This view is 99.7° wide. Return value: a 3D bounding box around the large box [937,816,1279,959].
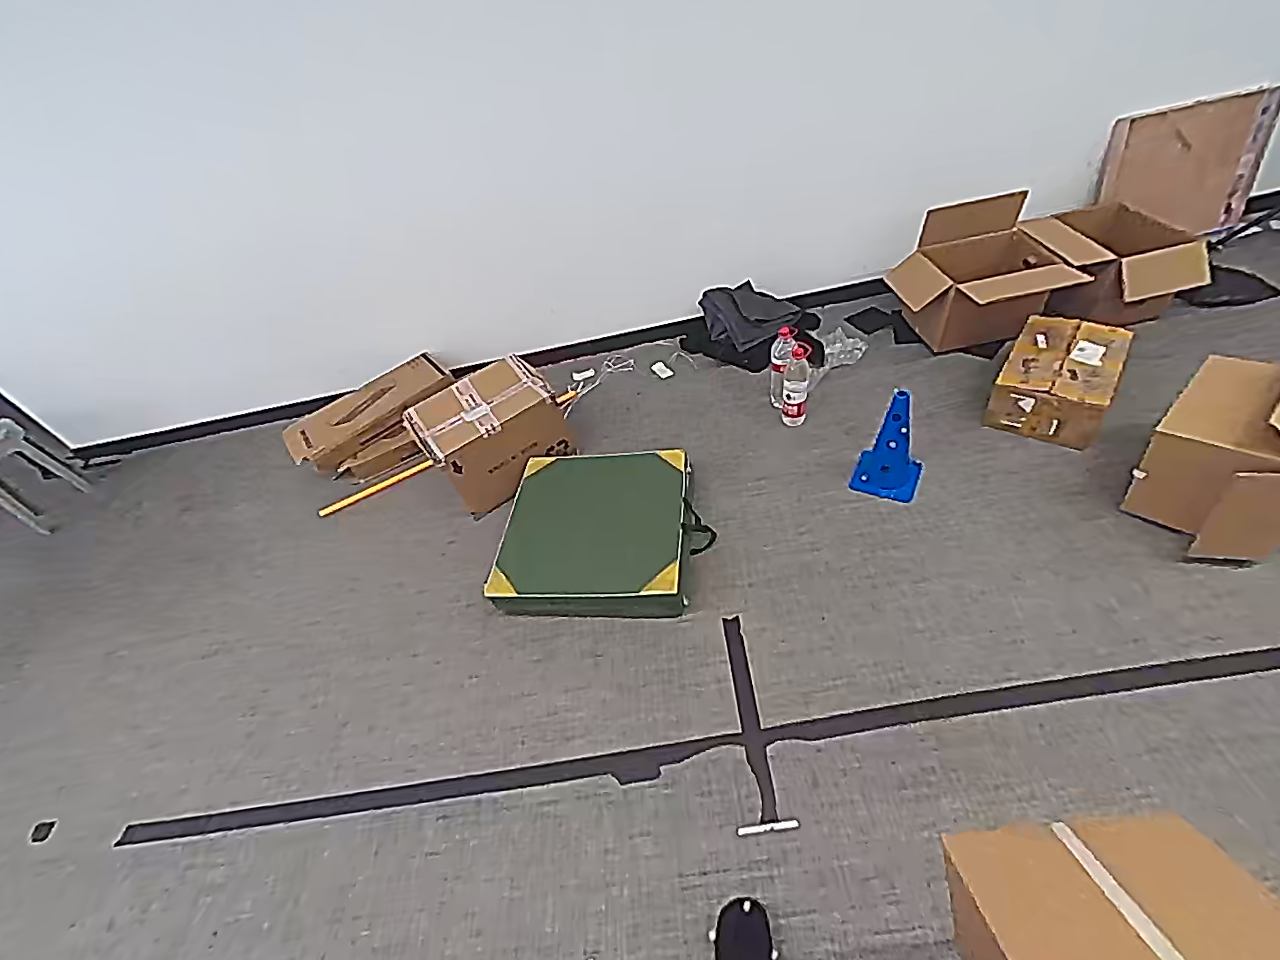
[{"bbox_3d":[0.577,0.654,0.573,0.320,0.320,0.408,-12,7,8],"label":"large box"}]
